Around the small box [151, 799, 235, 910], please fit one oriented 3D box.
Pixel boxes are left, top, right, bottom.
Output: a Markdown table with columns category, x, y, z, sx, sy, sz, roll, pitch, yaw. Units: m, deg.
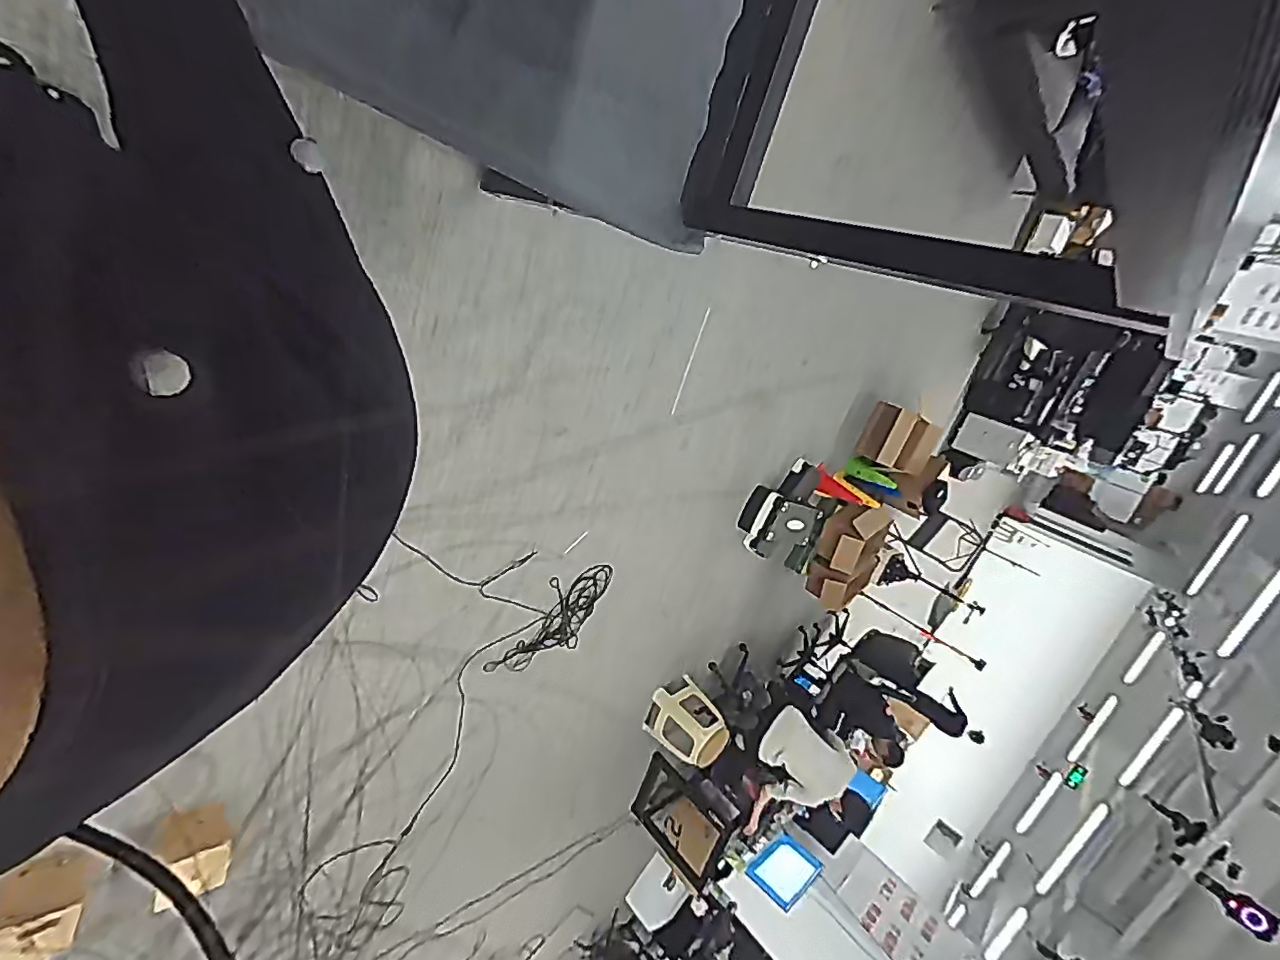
| category | x | y | z | sx | sy | sz | roll | pitch | yaw |
| --- | --- | --- | --- | --- | --- | --- | --- | --- | --- |
| small box | -1.333 | 1.103 | 1.607 | 0.168 | 0.176 | 0.179 | 2 | 113 | -48 |

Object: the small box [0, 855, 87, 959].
| category | x | y | z | sx | sy | sz | roll | pitch | yaw |
| --- | --- | --- | --- | --- | --- | --- | --- | --- | --- |
| small box | -1.544 | 1.100 | 1.373 | 0.168 | 0.176 | 0.179 | 11 | 107 | -50 |
